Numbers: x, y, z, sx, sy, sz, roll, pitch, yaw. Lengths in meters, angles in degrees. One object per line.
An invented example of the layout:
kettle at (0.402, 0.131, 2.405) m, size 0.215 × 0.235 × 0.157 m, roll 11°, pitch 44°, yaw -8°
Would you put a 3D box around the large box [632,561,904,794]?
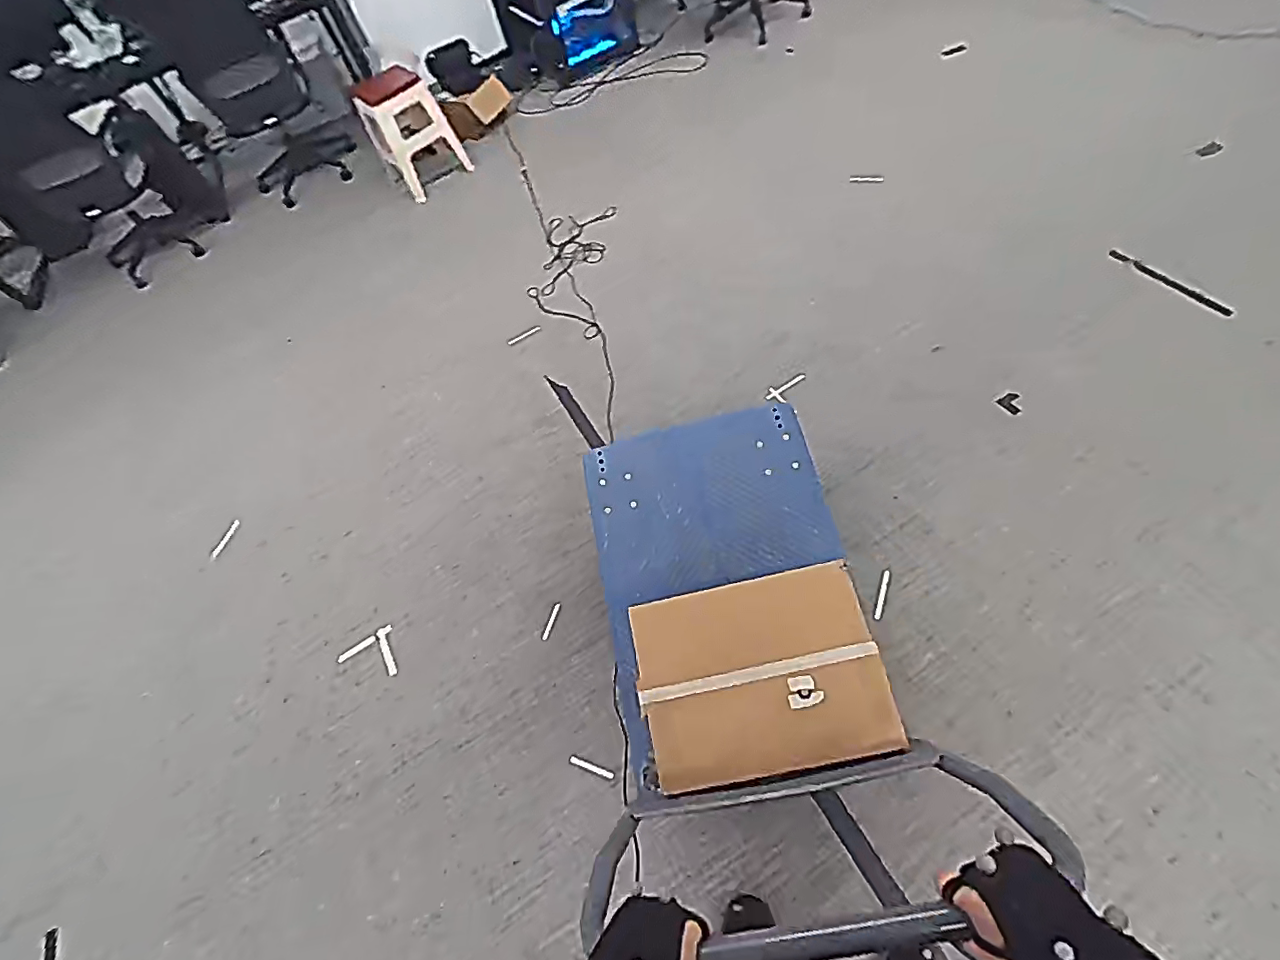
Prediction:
large box at (0.229, 0.390, 1.079) m, size 0.408 × 0.320 × 0.320 m, roll -14°, pitch 68°, yaw 4°
